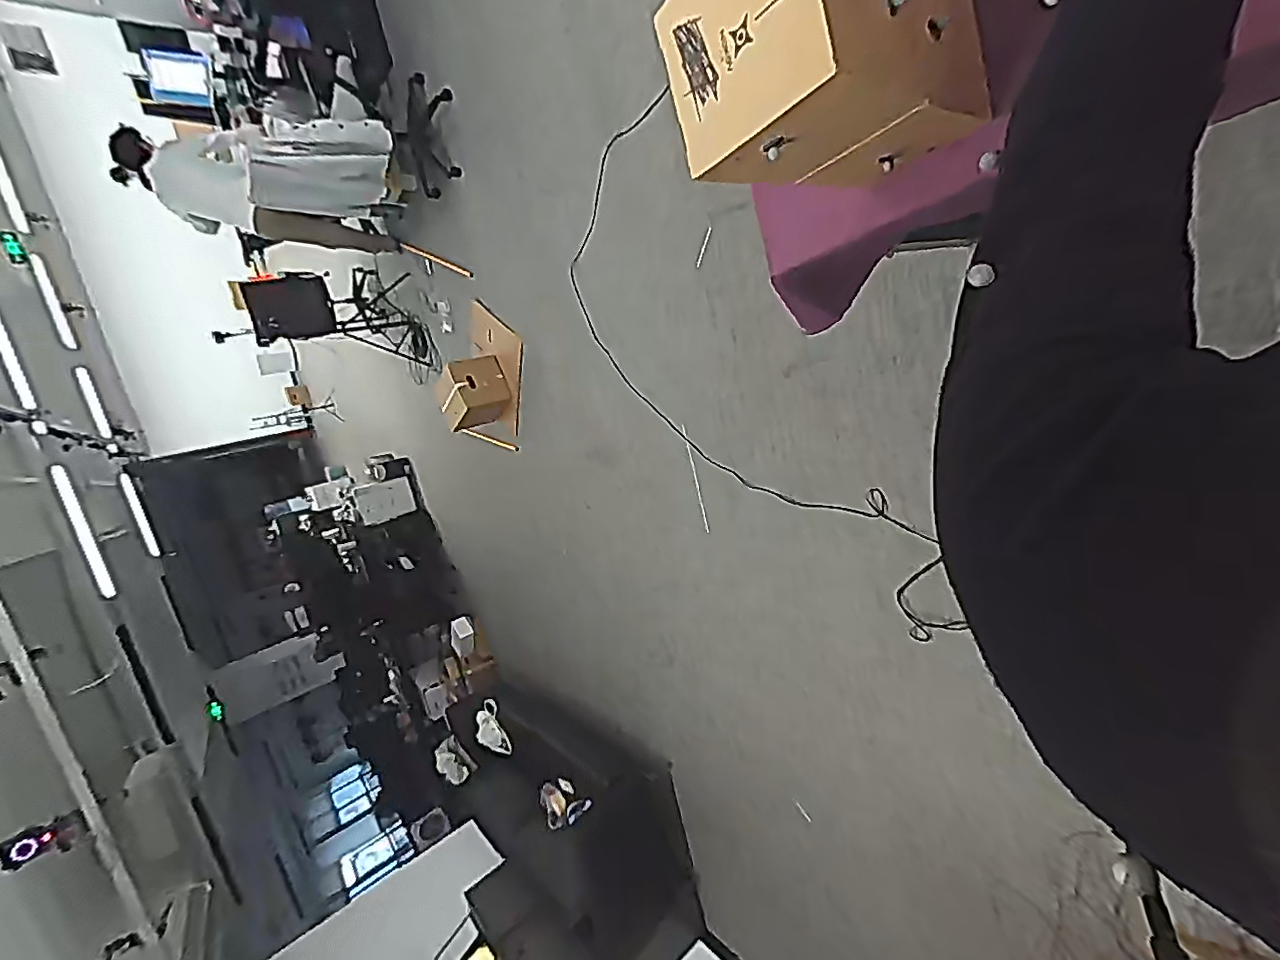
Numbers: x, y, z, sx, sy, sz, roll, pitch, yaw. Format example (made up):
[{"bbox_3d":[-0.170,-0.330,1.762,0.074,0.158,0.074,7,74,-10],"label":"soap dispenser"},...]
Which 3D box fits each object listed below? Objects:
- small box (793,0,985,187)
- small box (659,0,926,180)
[{"bbox_3d":[0.278,-0.471,0.637,0.168,0.176,0.179,-5,102,53],"label":"small box"},{"bbox_3d":[0.151,-0.424,0.542,0.179,0.176,0.168,-6,102,53],"label":"small box"}]
